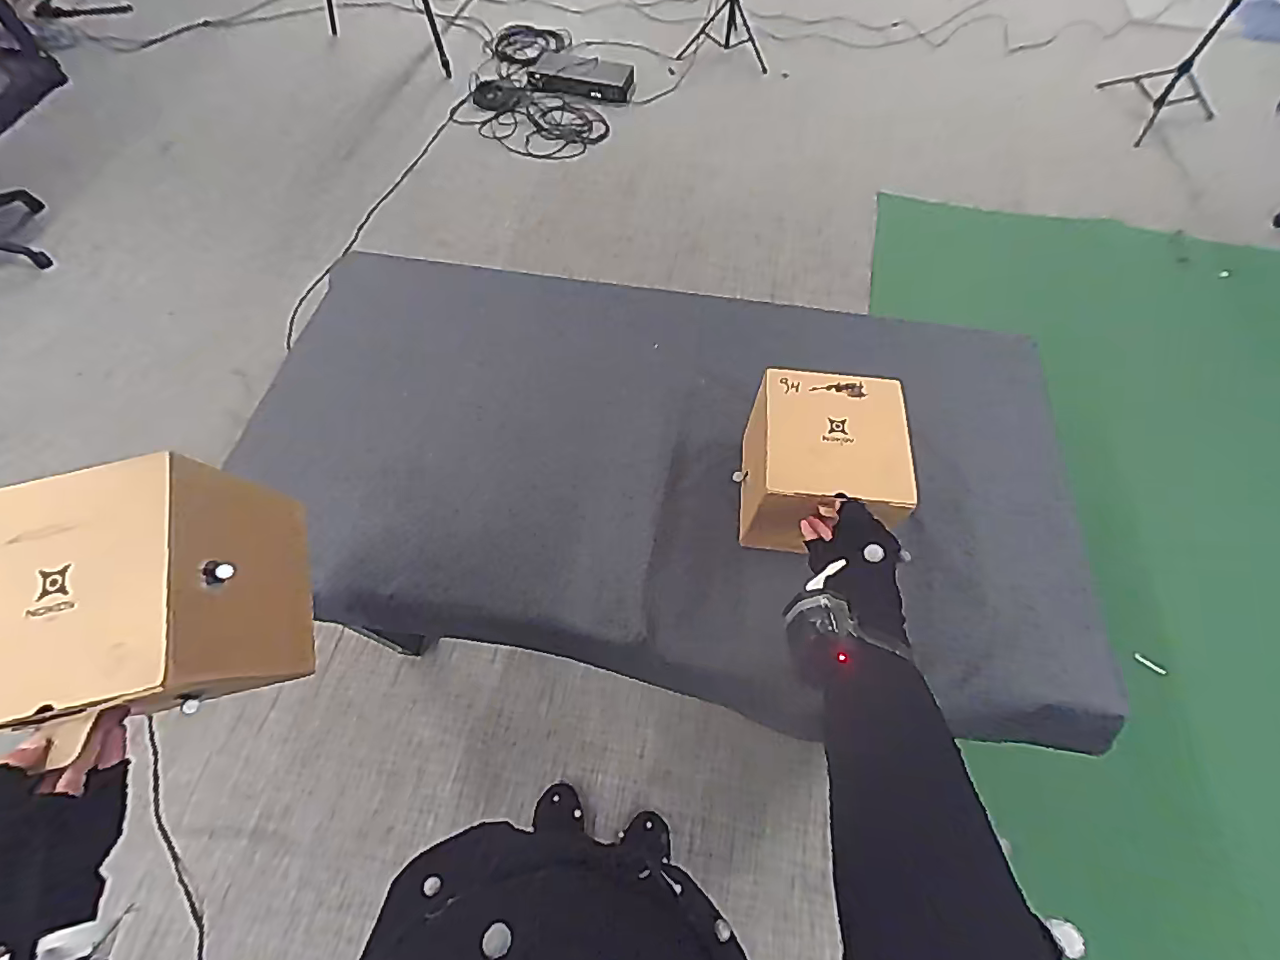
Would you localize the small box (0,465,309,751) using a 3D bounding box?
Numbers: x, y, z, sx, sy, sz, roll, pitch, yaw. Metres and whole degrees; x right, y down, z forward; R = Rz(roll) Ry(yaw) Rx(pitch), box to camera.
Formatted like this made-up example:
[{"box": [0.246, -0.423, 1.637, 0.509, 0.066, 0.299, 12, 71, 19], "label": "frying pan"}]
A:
[{"box": [-0.407, 0.109, 0.452, 0.168, 0.176, 0.179, -13, 72, -2], "label": "small box"}]
